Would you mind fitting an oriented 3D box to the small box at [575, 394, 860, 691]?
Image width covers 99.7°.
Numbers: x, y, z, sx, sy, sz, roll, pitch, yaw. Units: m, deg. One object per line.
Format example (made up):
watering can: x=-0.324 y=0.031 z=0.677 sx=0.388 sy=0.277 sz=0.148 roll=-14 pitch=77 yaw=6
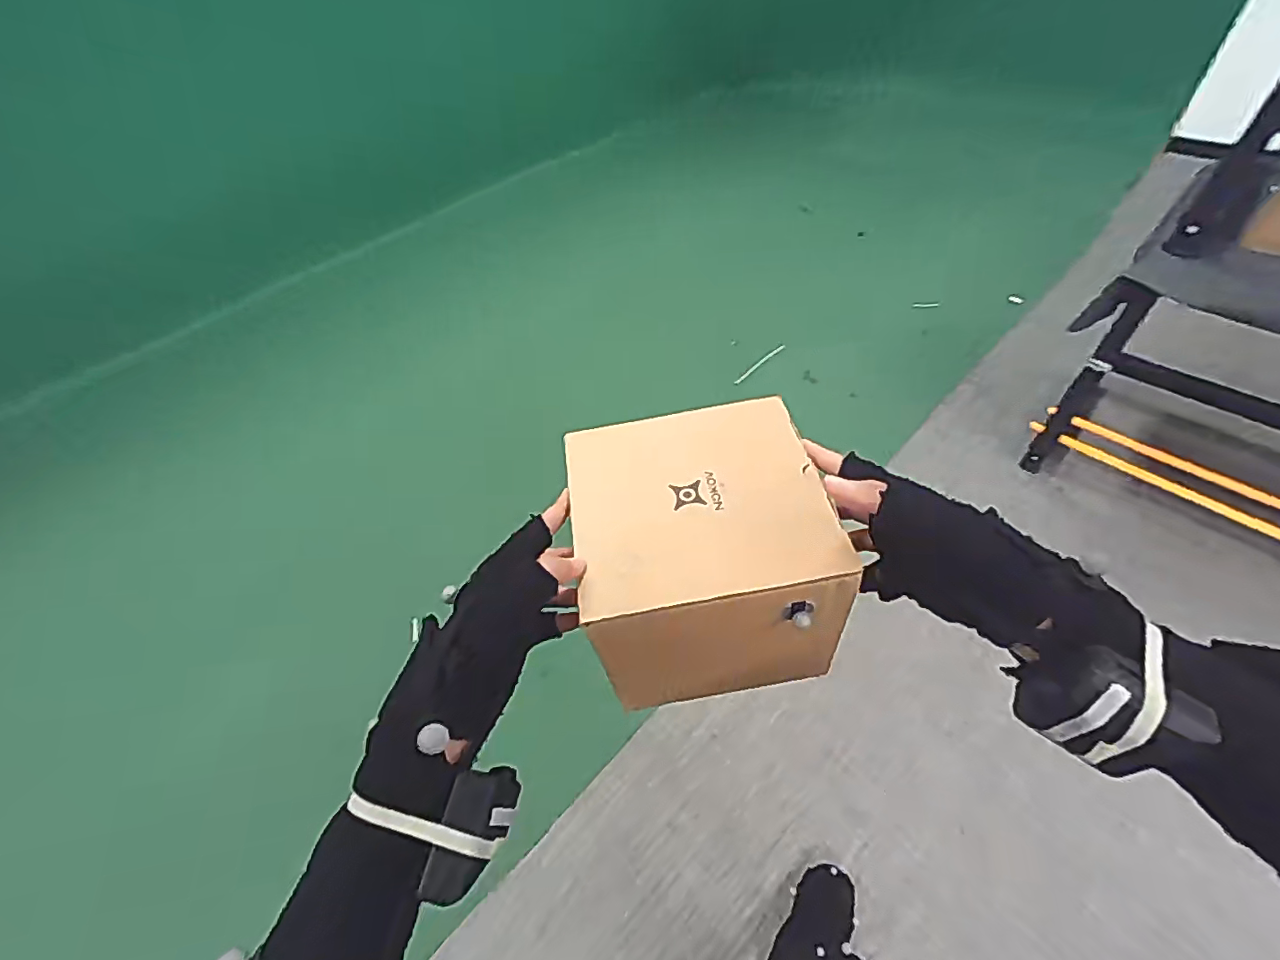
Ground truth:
small box: x=0.052 y=0.057 z=0.446 sx=0.179 sy=0.176 sz=0.168 roll=-10 pitch=50 yaw=-1
